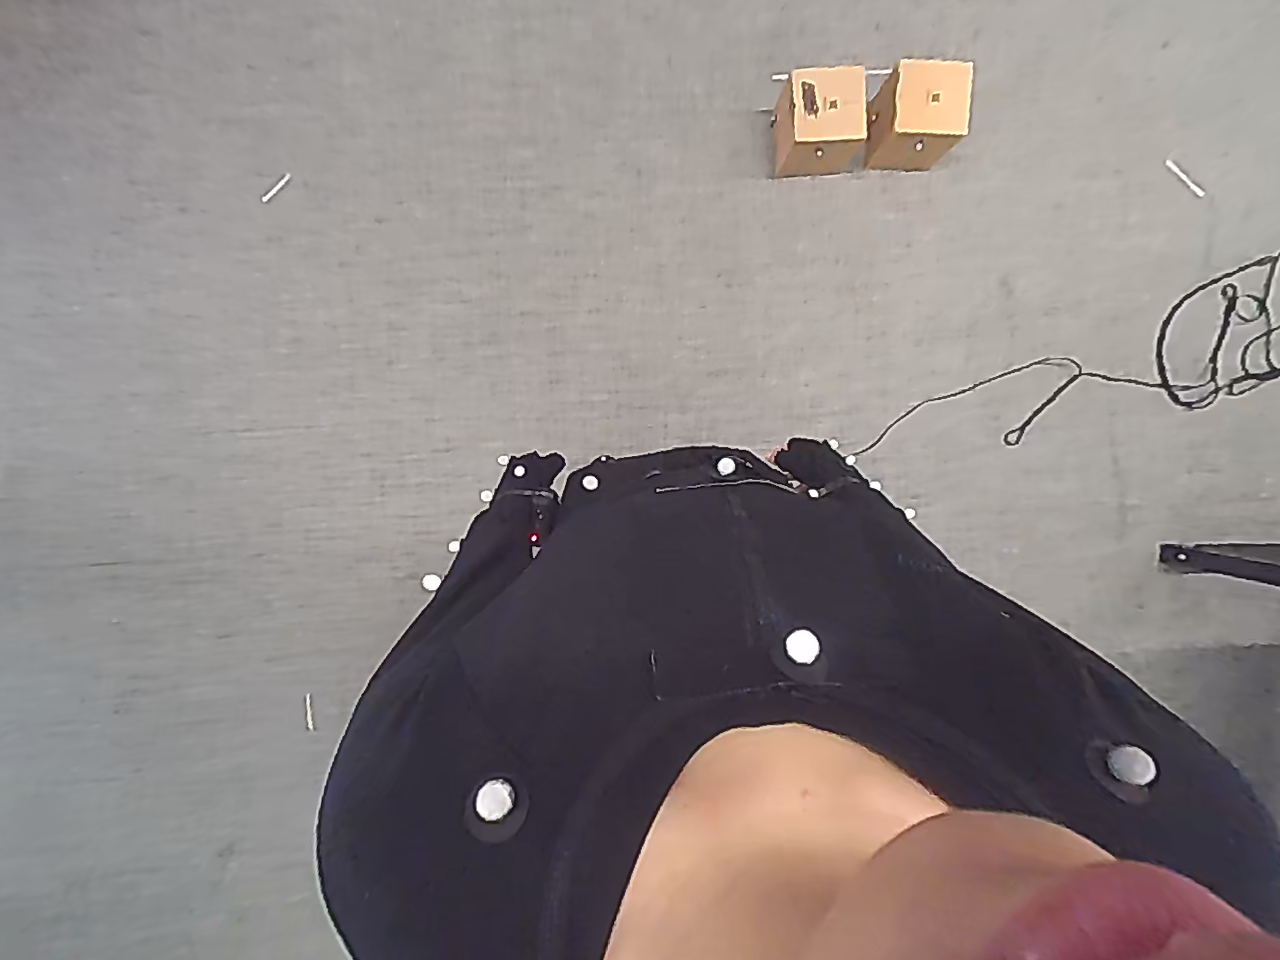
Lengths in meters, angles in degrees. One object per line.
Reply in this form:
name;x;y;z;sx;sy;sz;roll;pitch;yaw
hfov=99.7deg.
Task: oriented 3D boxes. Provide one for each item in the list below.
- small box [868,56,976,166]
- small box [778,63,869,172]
small box;0.689;-0.903;1.335;0.179;0.176;0.168;2;94;1
small box;0.445;-0.885;1.335;0.179;0.176;0.168;-4;94;-1
